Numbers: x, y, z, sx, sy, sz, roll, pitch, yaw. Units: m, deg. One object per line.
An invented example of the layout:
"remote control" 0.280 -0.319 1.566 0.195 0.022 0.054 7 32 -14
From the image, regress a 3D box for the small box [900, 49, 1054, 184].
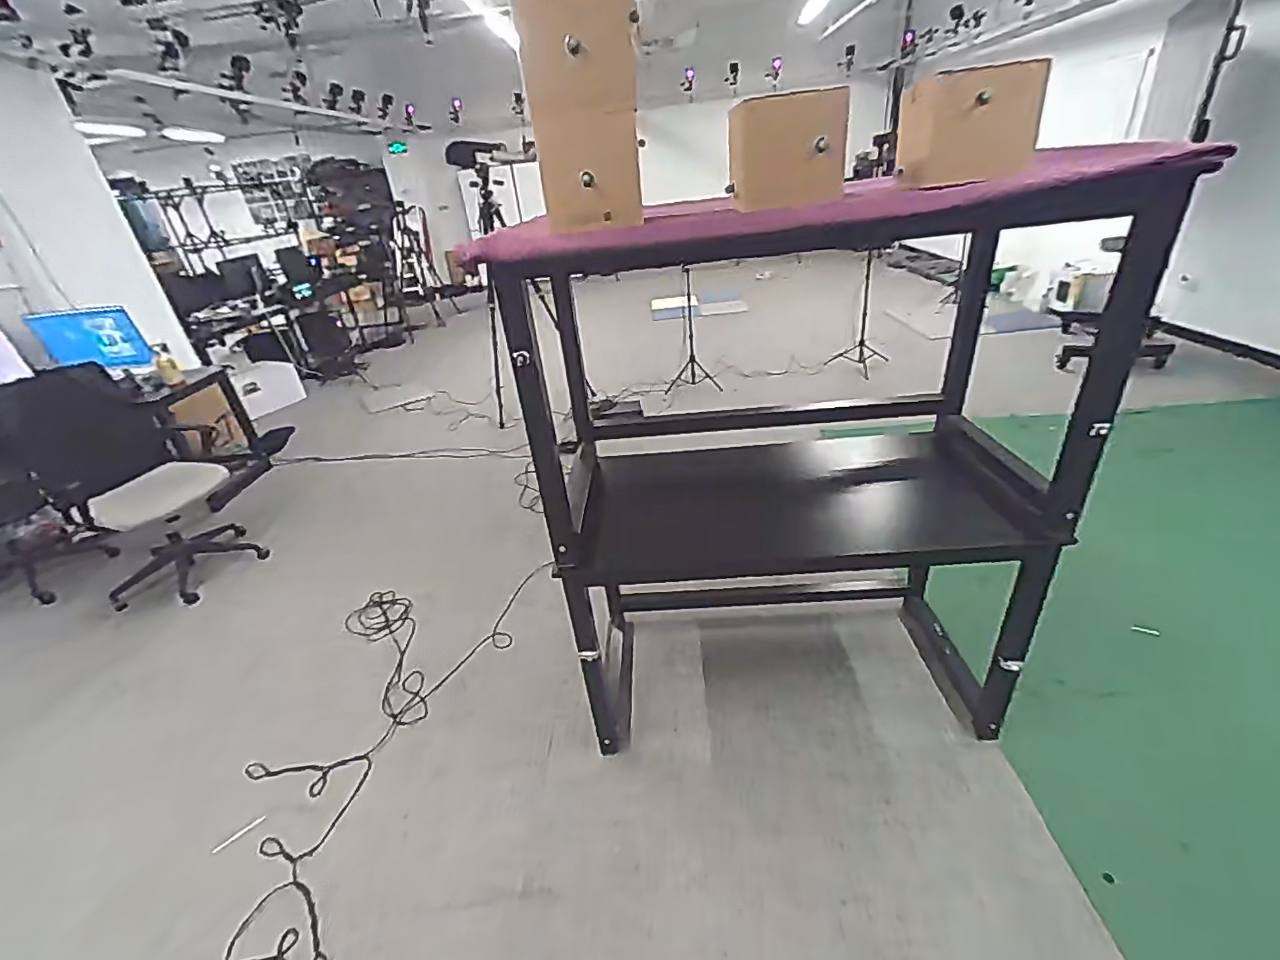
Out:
"small box" 0.577 -0.627 0.956 0.179 0.176 0.168 -4 28 6

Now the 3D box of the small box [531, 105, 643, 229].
"small box" -0.084 -0.546 0.954 0.168 0.176 0.179 -5 30 2

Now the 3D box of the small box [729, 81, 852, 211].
"small box" 0.257 -0.585 0.959 0.179 0.176 0.168 -6 29 3
